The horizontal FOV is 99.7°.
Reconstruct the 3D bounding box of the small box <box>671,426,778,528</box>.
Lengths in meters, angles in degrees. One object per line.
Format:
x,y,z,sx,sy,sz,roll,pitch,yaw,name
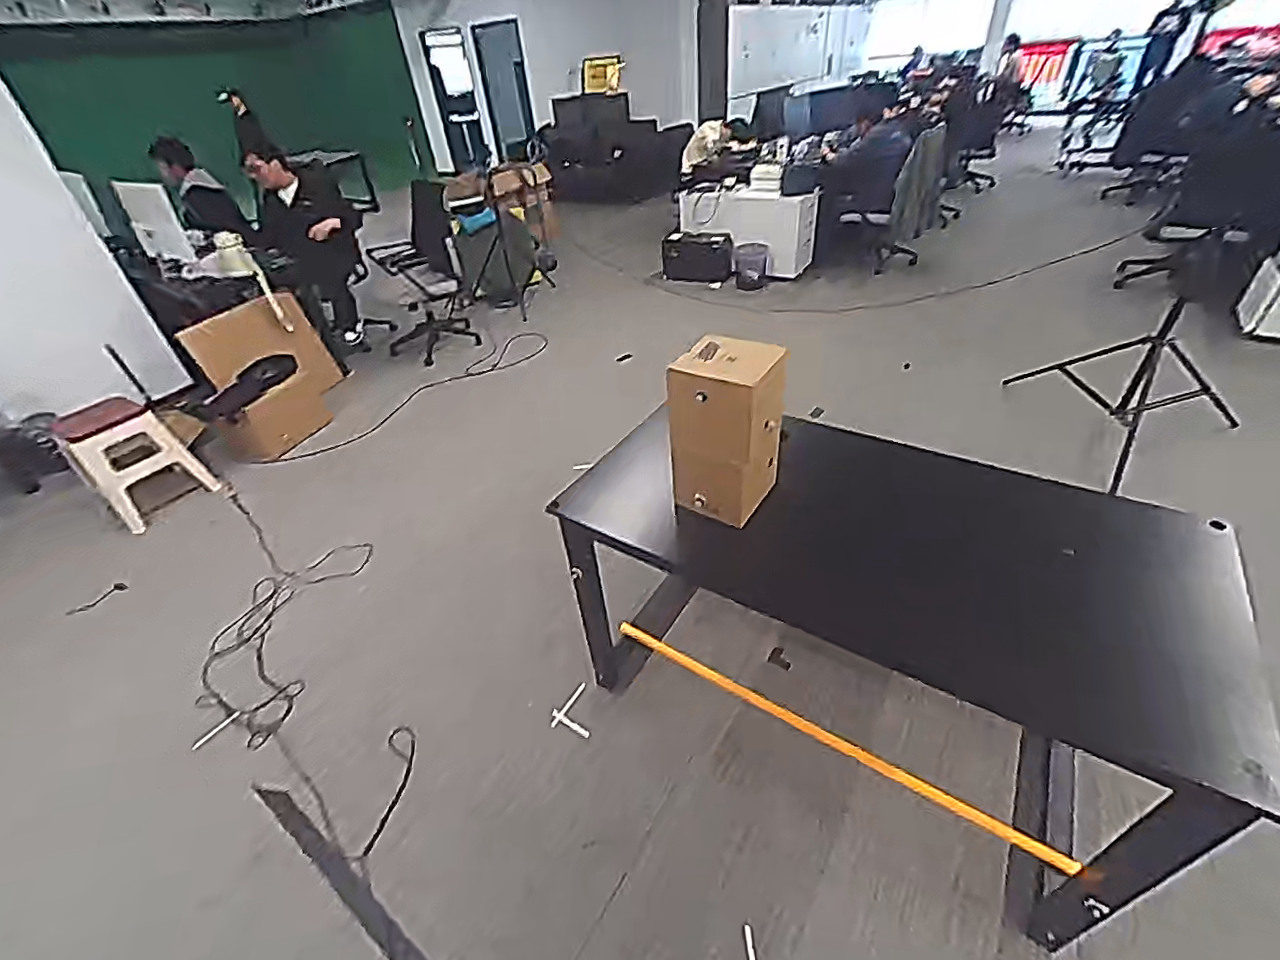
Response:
0.180,-0.030,1.158,0.168,0.176,0.179,18,45,29,small box

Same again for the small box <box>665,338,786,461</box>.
0.166,-0.159,1.056,0.179,0.176,0.168,19,44,28,small box
